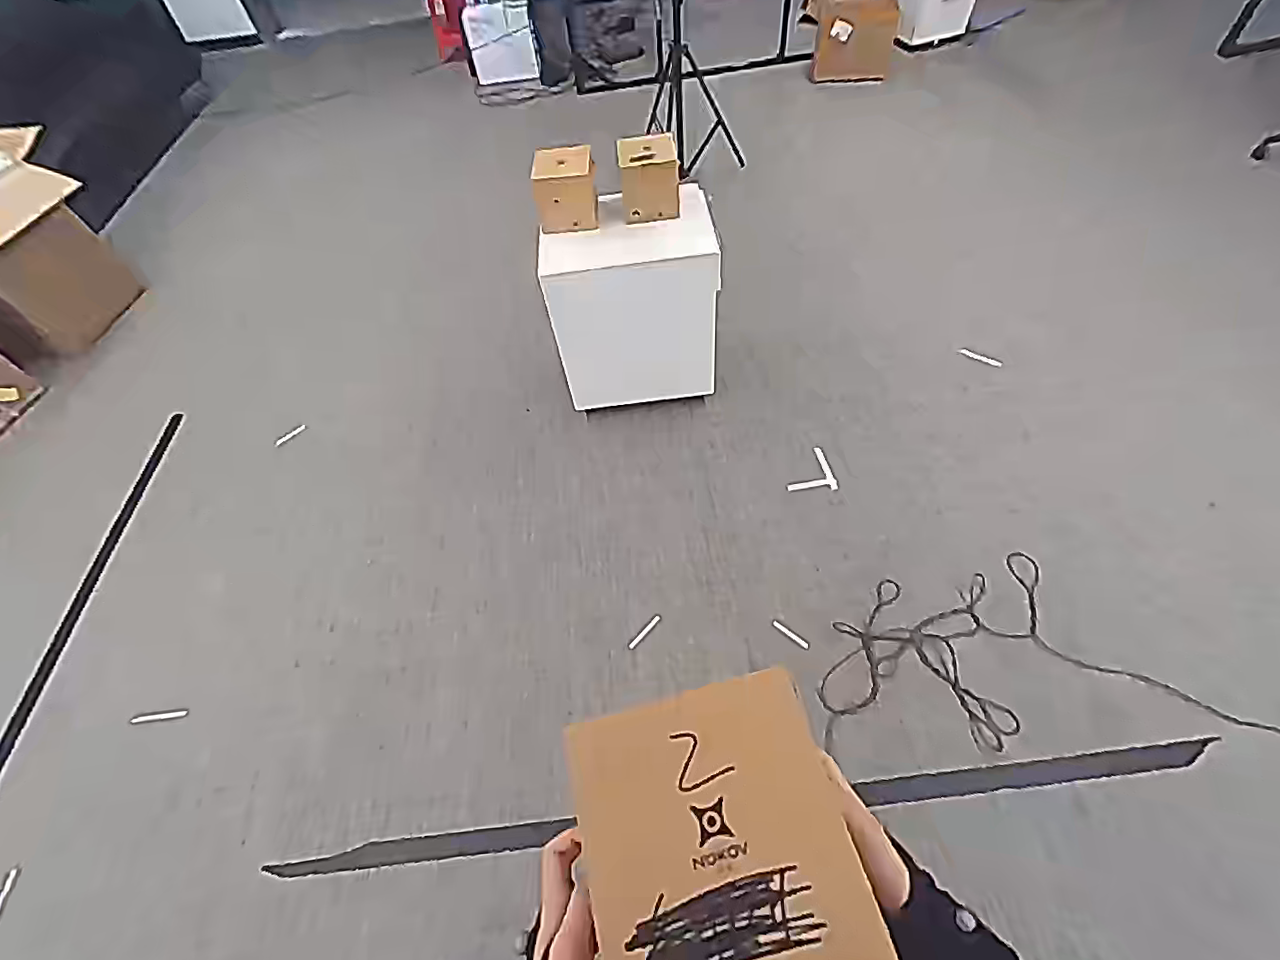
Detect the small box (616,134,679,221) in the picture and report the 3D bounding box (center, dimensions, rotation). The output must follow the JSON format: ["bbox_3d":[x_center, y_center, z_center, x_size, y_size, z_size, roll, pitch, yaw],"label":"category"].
[{"bbox_3d":[0.024,-0.888,1.603,0.168,0.176,0.179,-6,54,3],"label":"small box"}]

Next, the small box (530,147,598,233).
[{"bbox_3d":[-0.219,-0.856,1.610,0.168,0.176,0.179,-4,55,3],"label":"small box"}]
